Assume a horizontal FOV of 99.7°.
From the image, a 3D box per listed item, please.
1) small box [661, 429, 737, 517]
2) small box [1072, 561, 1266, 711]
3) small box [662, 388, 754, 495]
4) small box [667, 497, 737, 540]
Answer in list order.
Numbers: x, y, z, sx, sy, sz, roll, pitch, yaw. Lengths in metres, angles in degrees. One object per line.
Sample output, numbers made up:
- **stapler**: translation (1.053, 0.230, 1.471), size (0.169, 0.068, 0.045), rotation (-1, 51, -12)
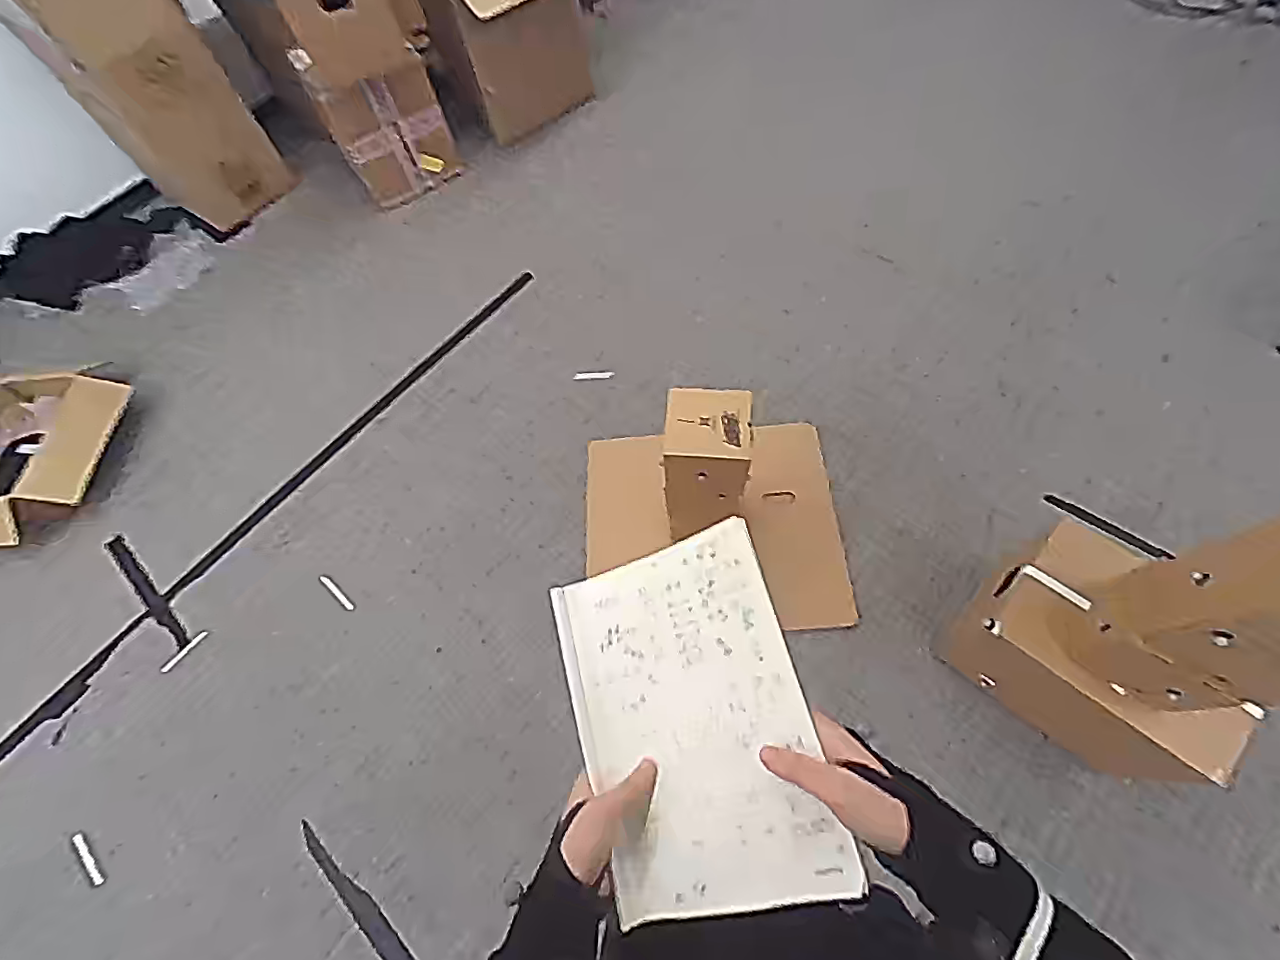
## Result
- **small box**: translation (0.145, -0.015, 1.310), size (0.179, 0.176, 0.168), rotation (1, 64, 5)
- **small box**: translation (0.897, 0.274, 0.929), size (0.168, 0.176, 0.179), rotation (32, 71, 19)
- **small box**: translation (0.144, -0.077, 1.156), size (0.179, 0.176, 0.168), rotation (4, 64, 7)
- **small box**: translation (0.162, 0.056, 1.455), size (0.179, 0.176, 0.168), rotation (0, 64, 4)
